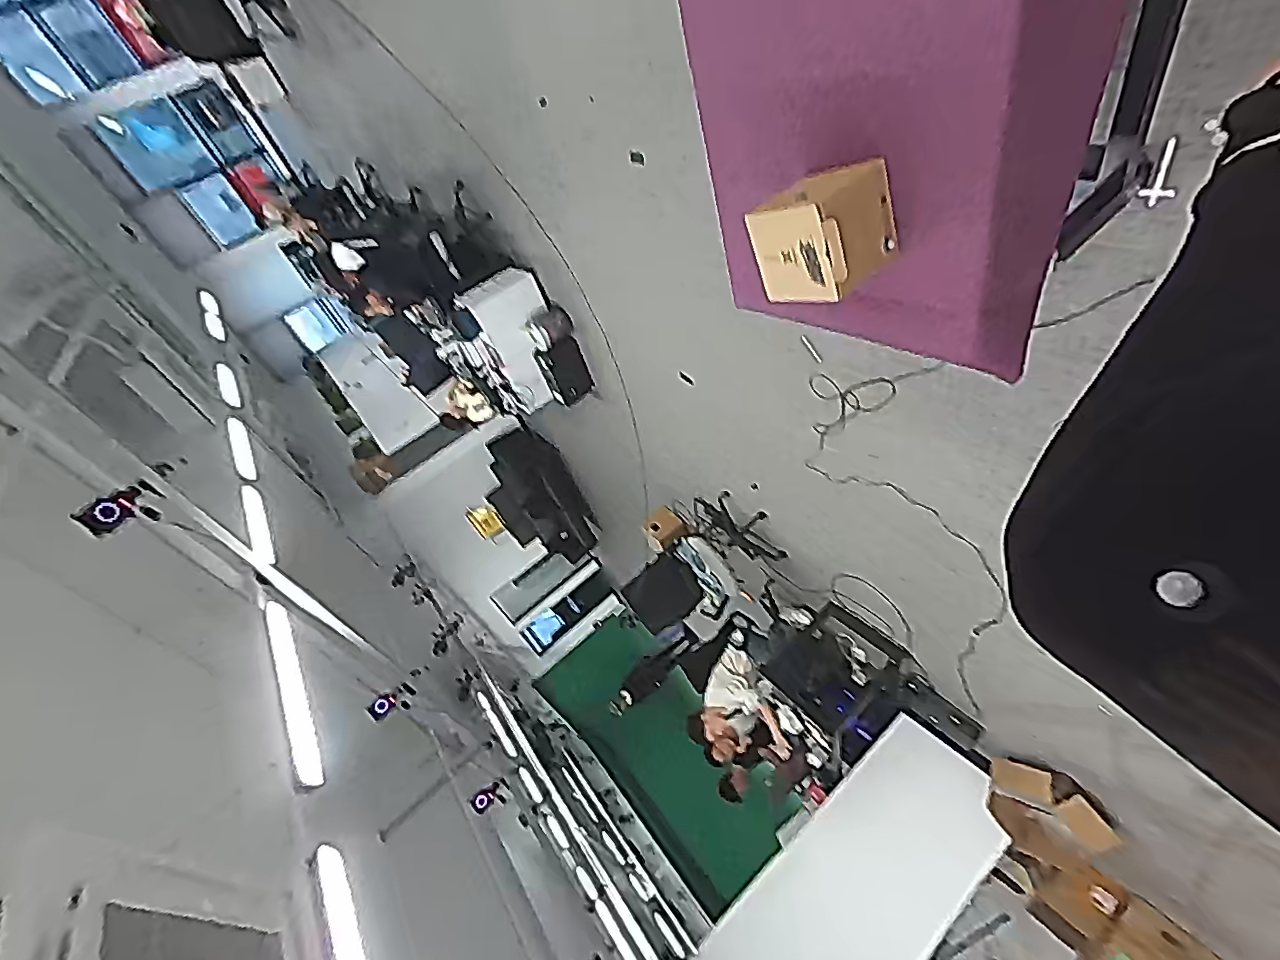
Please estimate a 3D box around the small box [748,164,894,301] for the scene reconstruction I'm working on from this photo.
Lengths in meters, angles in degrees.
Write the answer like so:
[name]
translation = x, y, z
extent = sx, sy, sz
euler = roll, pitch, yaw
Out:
[small box]
translation = 0.332, -0.440, 0.974
extent = 0.179, 0.176, 0.168
euler = 28, 151, 55
